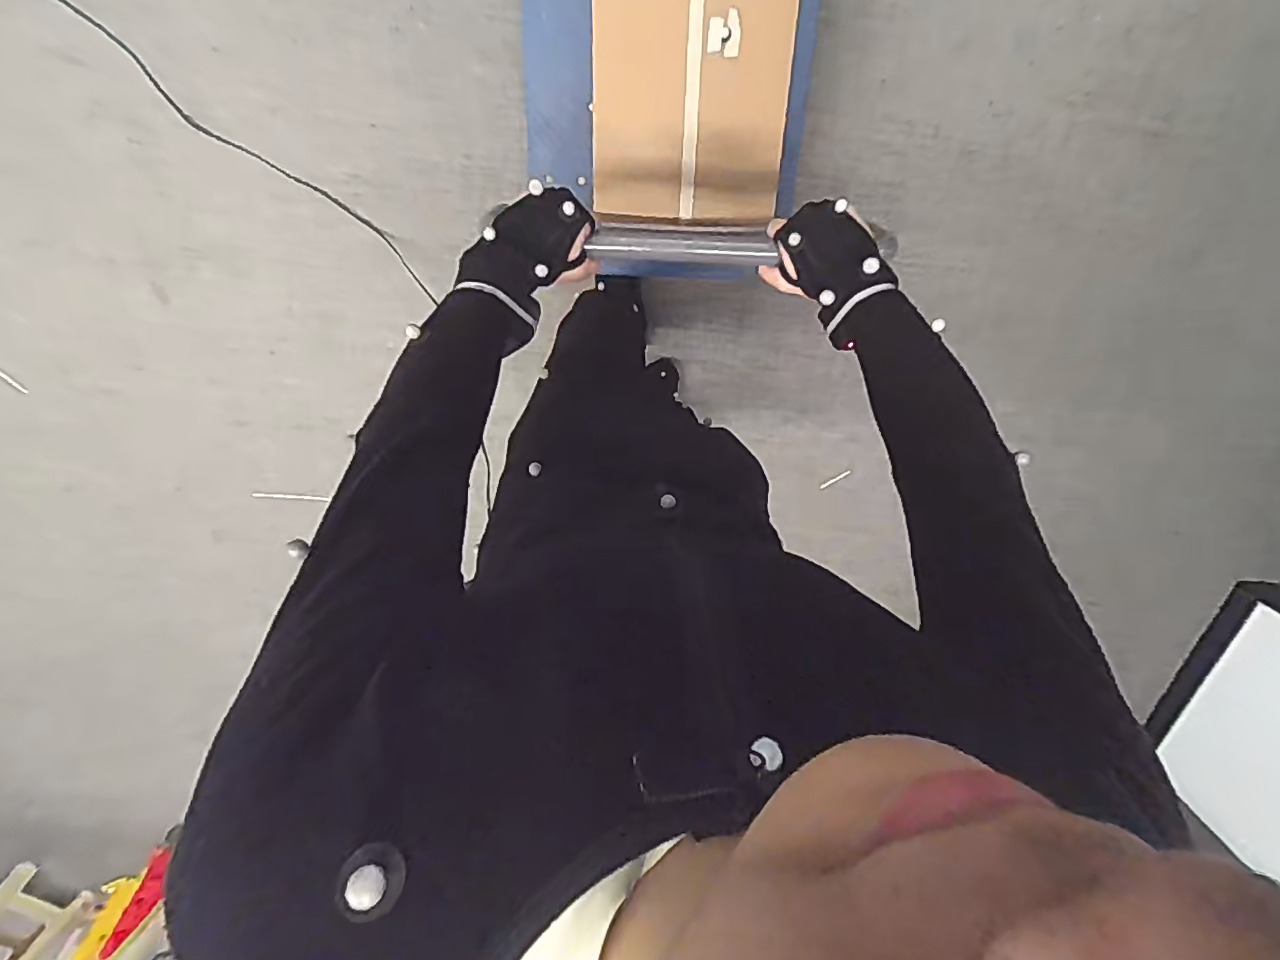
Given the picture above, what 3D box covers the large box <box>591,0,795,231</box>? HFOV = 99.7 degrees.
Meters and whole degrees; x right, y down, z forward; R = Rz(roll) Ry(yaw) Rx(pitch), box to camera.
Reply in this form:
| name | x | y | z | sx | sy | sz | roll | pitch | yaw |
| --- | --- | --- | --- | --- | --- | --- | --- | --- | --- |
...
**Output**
| name | x | y | z | sx | sy | sz | roll | pitch | yaw |
| --- | --- | --- | --- | --- | --- | --- | --- | --- | --- |
| large box | 0.078 | -0.685 | 0.994 | 0.320 | 0.320 | 0.408 | 1 | 113 | -2 |
